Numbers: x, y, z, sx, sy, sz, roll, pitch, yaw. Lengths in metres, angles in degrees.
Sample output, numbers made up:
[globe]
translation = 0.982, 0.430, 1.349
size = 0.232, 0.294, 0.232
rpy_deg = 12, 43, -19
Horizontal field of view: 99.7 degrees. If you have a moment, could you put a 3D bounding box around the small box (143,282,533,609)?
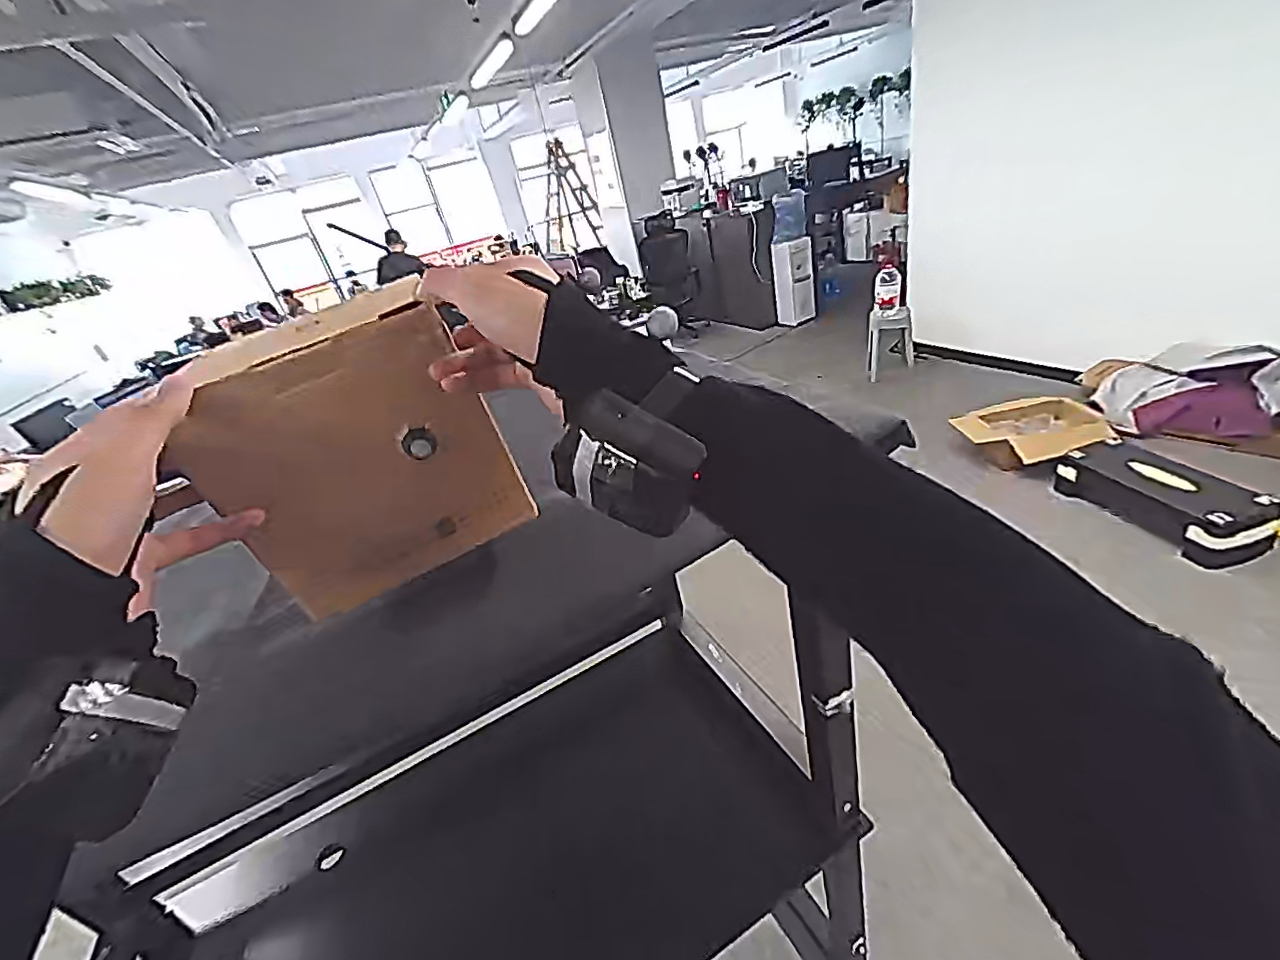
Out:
[small box]
translation = -0.198, -0.029, 0.406
size = 0.168, 0.176, 0.179
rpy_deg = -26, 31, -13
